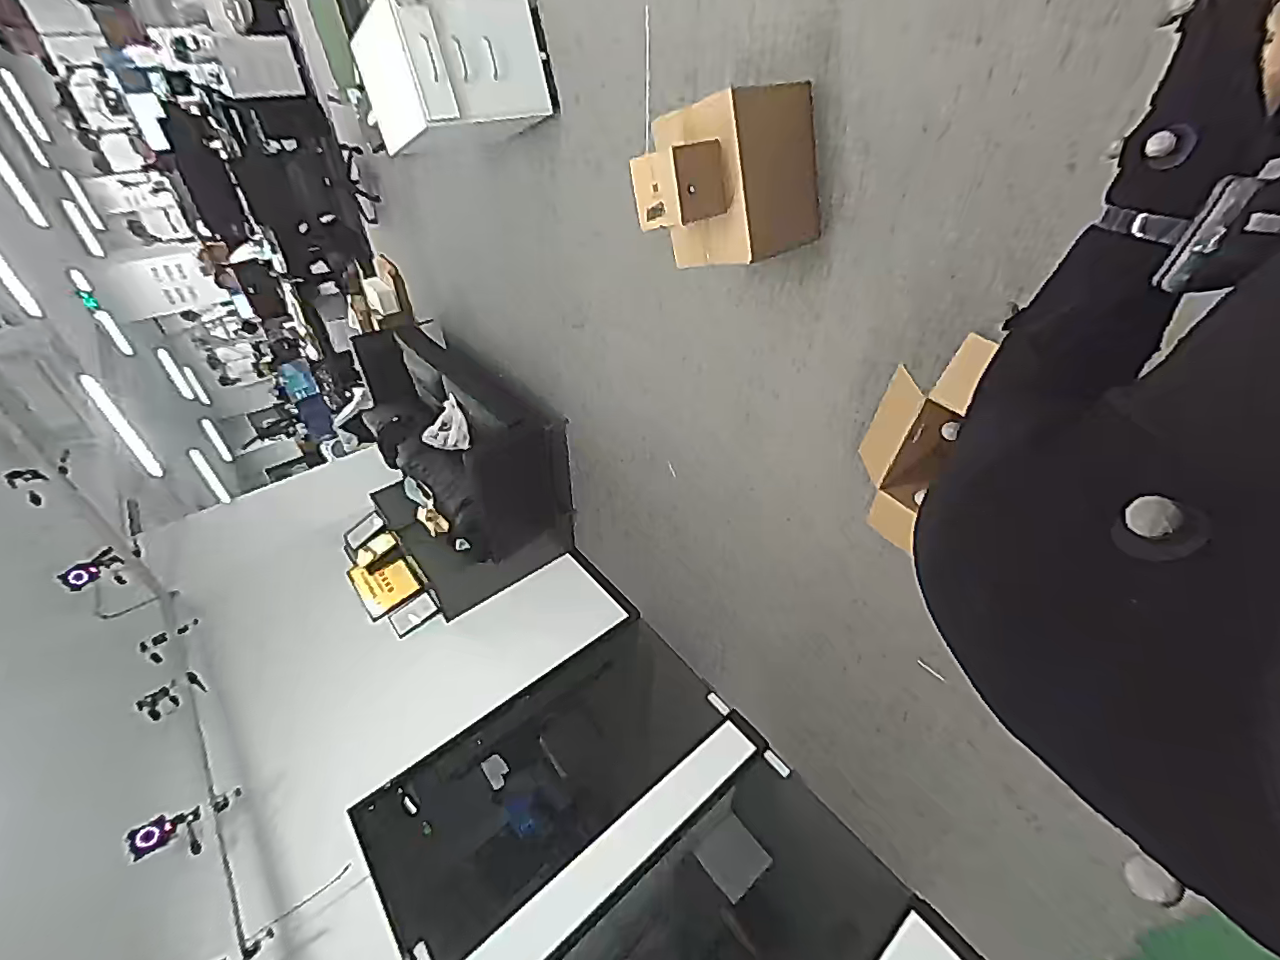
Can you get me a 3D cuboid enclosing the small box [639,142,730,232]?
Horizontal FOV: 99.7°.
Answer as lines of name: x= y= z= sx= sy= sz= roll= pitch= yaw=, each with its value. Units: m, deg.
small box: x=0.124 y=-0.777 z=1.438 sx=0.168 sy=0.176 sz=0.179 roll=21 pitch=131 yaw=48
